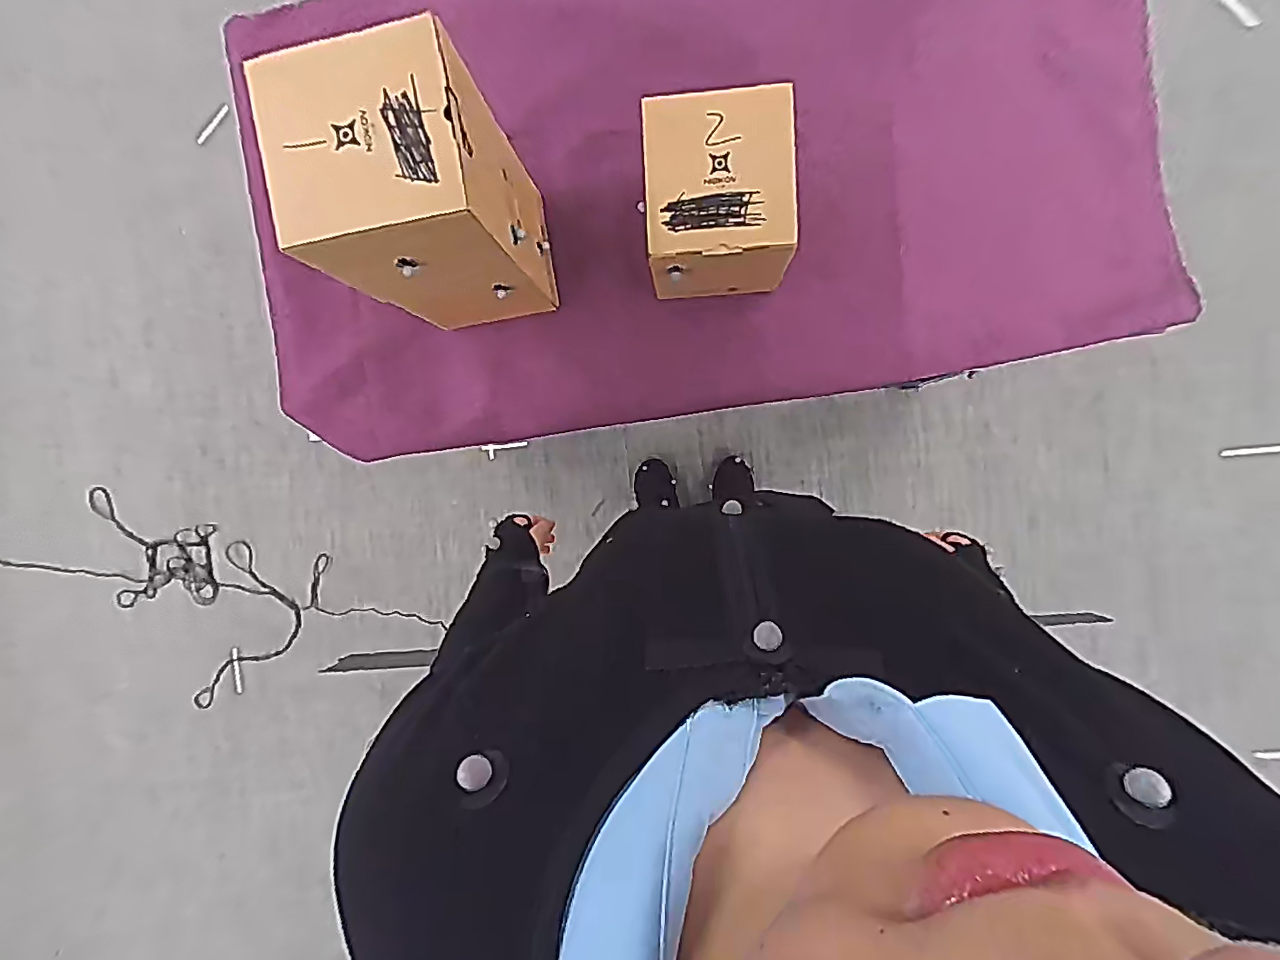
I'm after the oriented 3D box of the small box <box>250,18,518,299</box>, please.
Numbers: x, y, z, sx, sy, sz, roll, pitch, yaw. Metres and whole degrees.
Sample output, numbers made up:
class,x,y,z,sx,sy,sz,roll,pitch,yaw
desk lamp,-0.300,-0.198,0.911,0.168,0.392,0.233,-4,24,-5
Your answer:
class,x,y,z,sx,sy,sz,roll,pitch,yaw
small box,-0.232,-0.297,0.540,0.179,0.176,0.168,-9,92,5

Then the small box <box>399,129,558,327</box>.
class,x,y,z,sx,sy,sz,roll,pitch,yaw
small box,-0.221,-0.309,0.704,0.179,0.176,0.168,-9,92,5
